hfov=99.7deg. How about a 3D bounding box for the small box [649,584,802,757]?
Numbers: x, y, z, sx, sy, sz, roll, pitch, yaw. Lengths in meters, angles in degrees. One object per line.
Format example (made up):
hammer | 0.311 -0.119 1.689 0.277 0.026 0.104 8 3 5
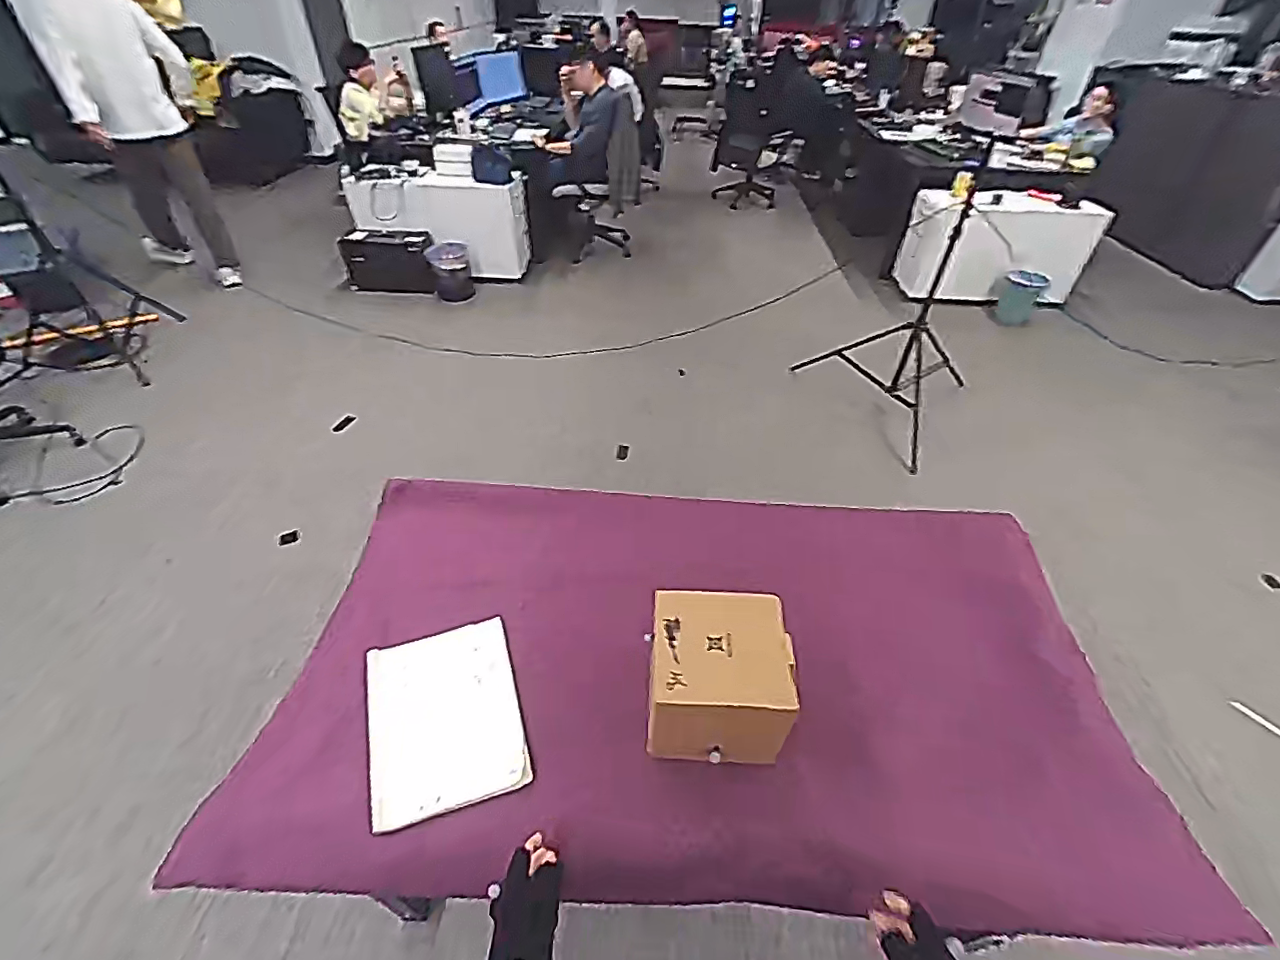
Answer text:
small box | 0.107 0.266 0.751 0.179 0.176 0.168 3 42 1
